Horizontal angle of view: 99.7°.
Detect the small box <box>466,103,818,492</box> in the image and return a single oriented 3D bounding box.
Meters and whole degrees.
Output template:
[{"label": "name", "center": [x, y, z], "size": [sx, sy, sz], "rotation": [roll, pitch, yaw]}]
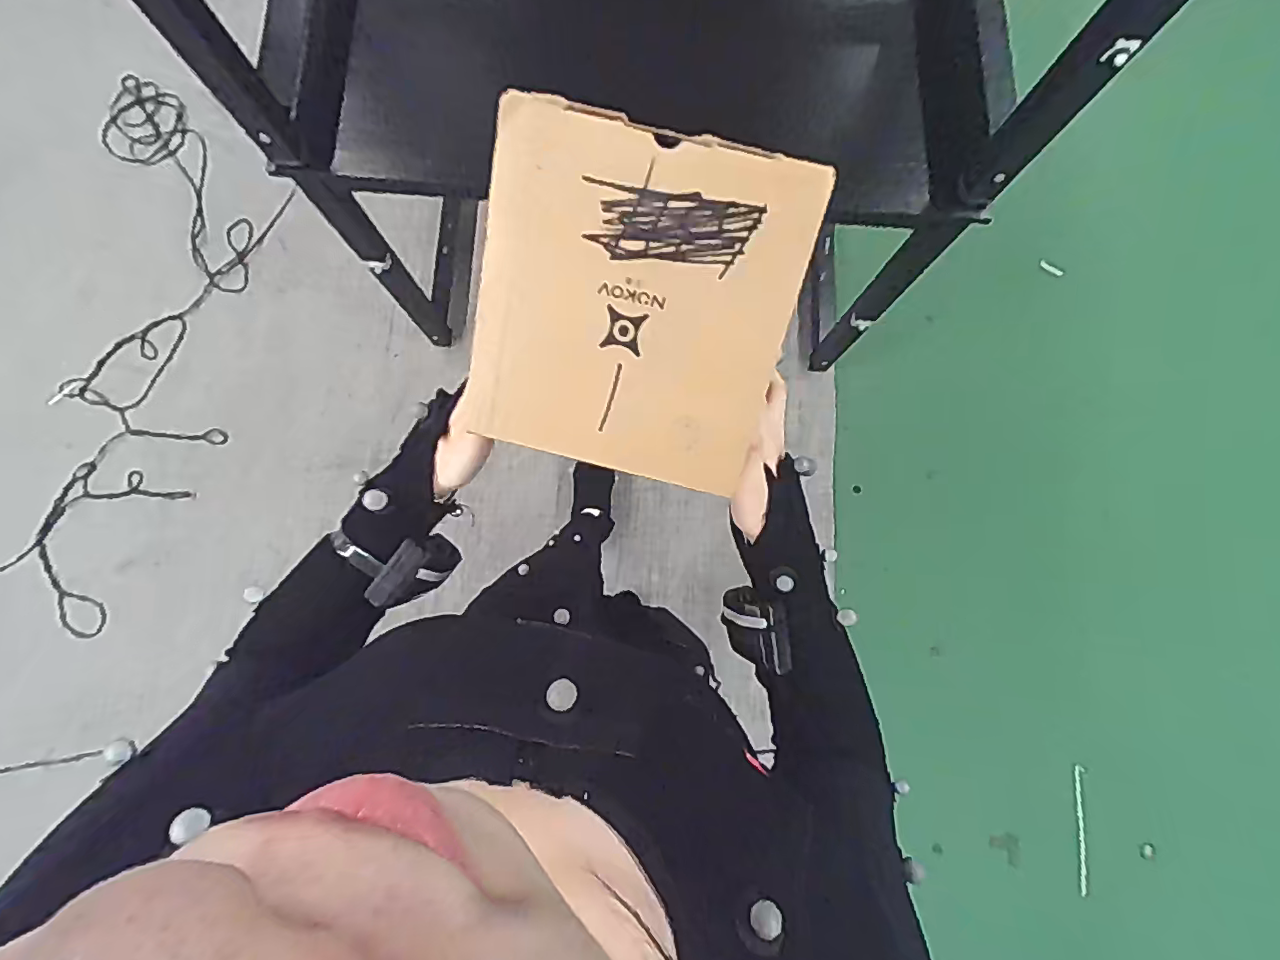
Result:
[{"label": "small box", "center": [0.000, -0.118, 0.375], "size": [0.168, 0.176, 0.179], "rotation": [15, 111, 1]}]
